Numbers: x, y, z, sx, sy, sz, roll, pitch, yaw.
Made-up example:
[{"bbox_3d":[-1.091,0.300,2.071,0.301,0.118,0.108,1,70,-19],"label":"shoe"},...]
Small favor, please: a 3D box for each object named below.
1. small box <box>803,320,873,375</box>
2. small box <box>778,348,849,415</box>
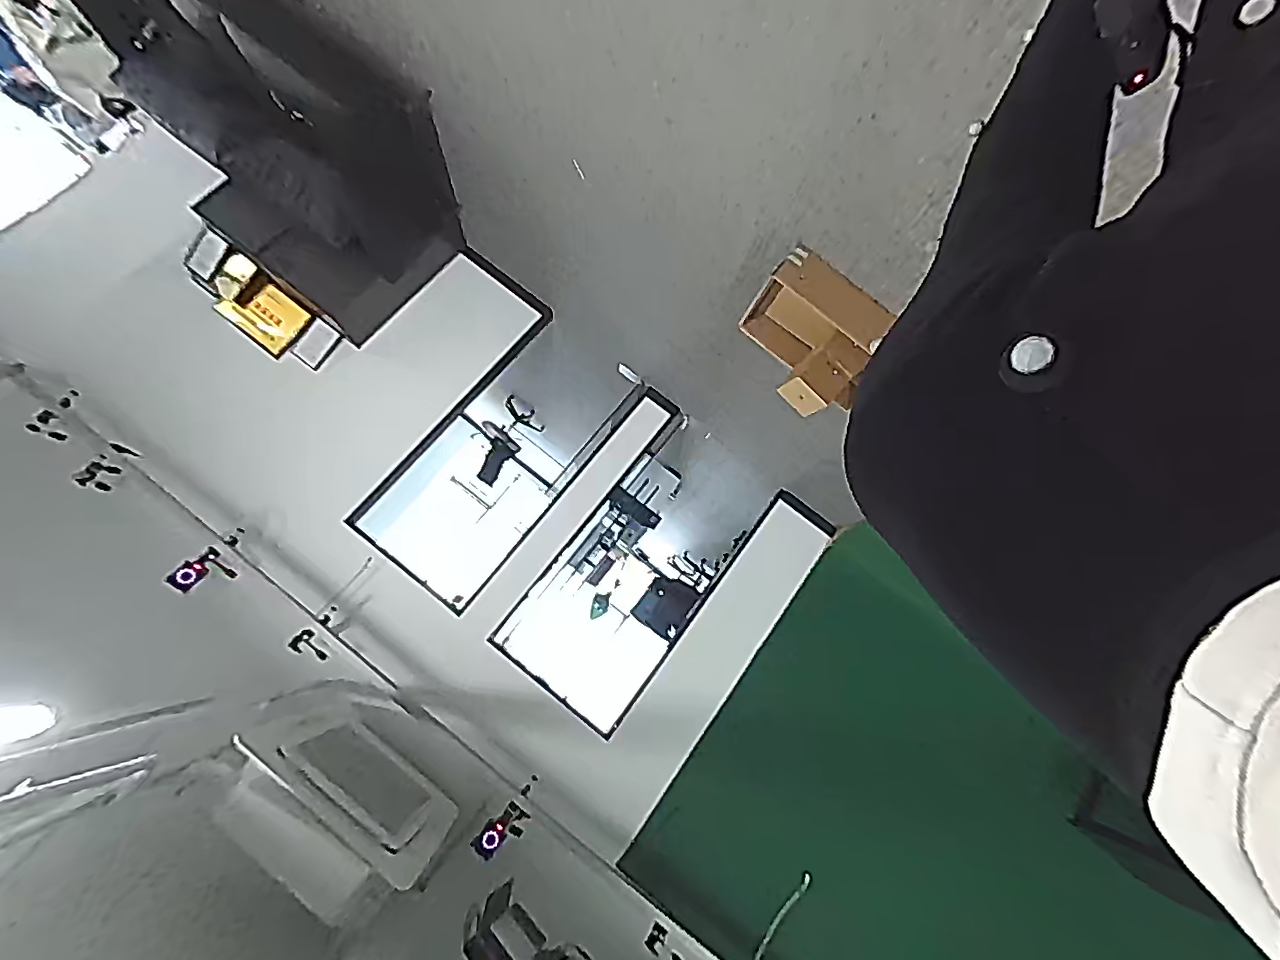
[{"bbox_3d":[0.798,-0.509,2.182,0.168,0.176,0.179,43,164,-1],"label":"small box"},{"bbox_3d":[0.691,-0.391,2.145,0.168,0.176,0.179,43,164,-5],"label":"small box"}]
